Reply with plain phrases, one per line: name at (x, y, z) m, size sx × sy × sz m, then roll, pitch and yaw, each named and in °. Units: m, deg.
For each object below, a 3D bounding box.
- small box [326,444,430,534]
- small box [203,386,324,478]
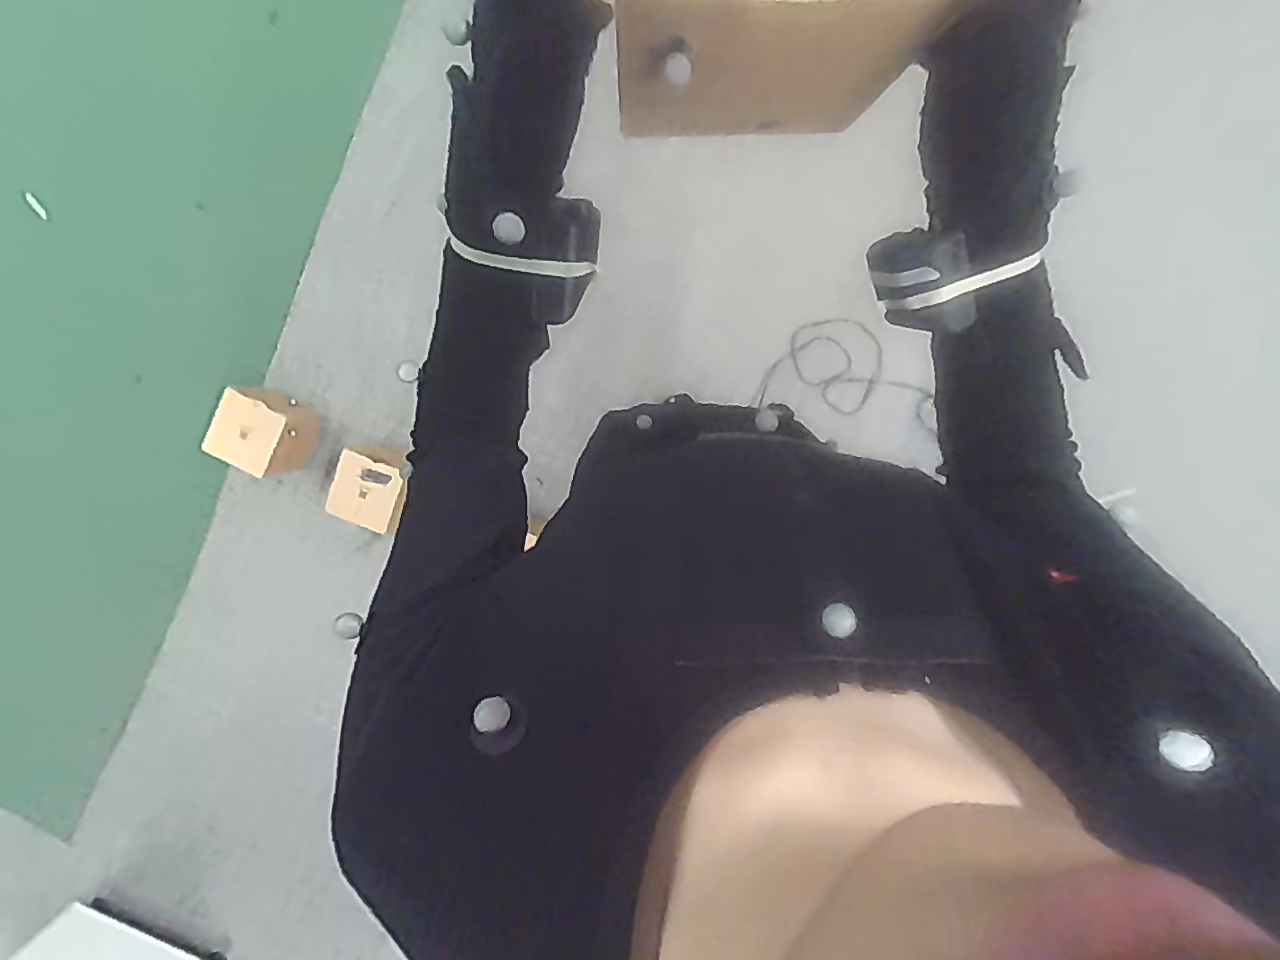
small box at (-0.674, 0.015, 1.414) m, size 0.168 × 0.176 × 0.179 m, roll 22°, pitch 98°, yaw -2°
small box at (-0.964, -0.127, 1.401) m, size 0.168 × 0.176 × 0.179 m, roll 27°, pitch 97°, yaw -3°
